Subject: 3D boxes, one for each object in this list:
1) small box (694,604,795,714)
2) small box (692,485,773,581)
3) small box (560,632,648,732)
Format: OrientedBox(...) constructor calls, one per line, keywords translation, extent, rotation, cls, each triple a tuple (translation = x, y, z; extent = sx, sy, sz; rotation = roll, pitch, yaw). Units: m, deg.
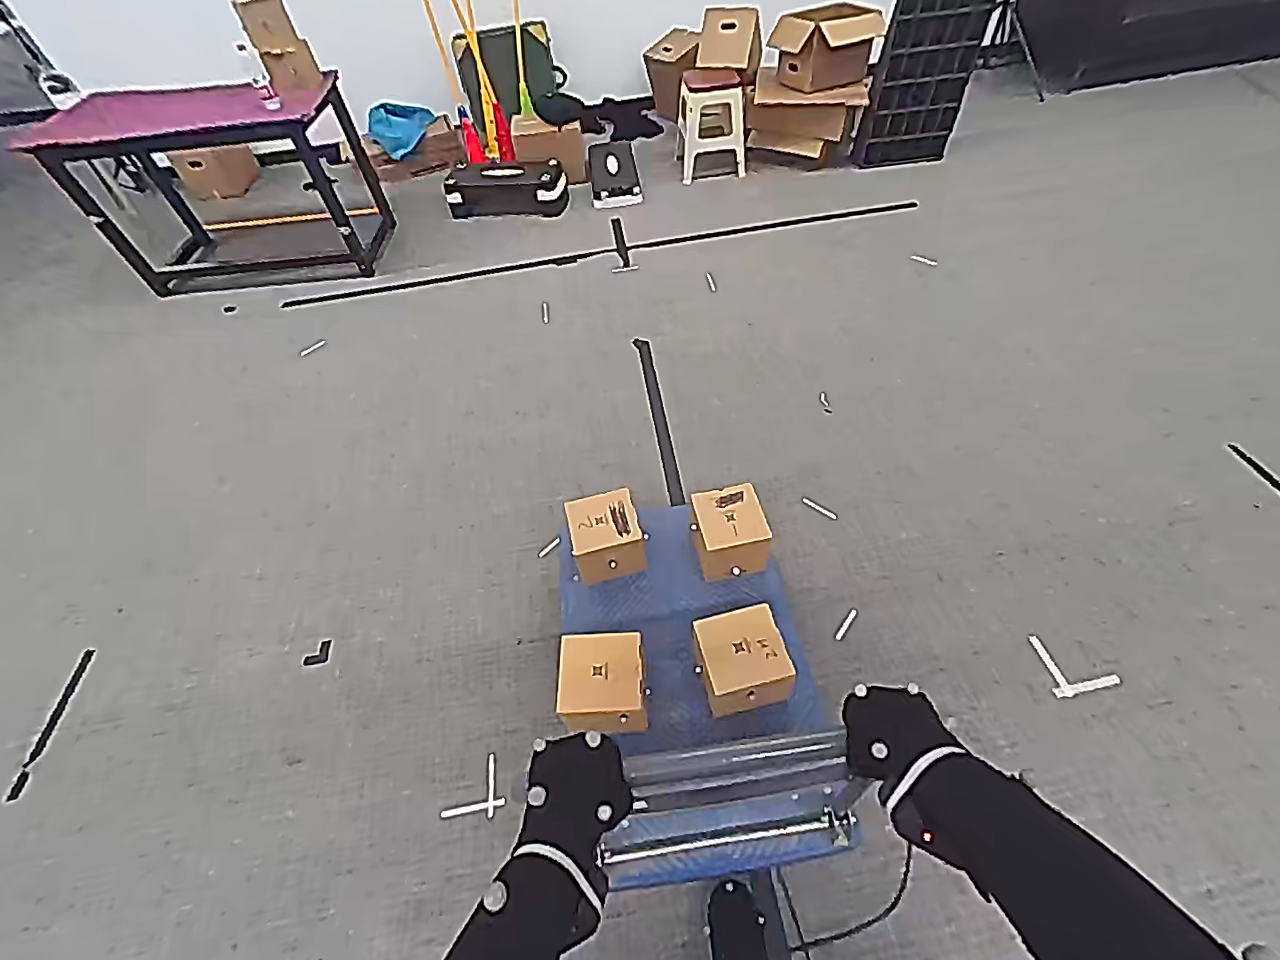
OrientedBox(translation=(0.228, 0.407, 1.215), extent=(0.179, 0.176, 0.168), rotation=(-13, 51, -4), cls="small box")
OrientedBox(translation=(0.235, 0.142, 1.425), extent=(0.168, 0.176, 0.179), rotation=(-12, 52, -3), cls="small box")
OrientedBox(translation=(-0.074, 0.456, 1.210), extent=(0.179, 0.176, 0.168), rotation=(-3, 51, 1), cls="small box")
